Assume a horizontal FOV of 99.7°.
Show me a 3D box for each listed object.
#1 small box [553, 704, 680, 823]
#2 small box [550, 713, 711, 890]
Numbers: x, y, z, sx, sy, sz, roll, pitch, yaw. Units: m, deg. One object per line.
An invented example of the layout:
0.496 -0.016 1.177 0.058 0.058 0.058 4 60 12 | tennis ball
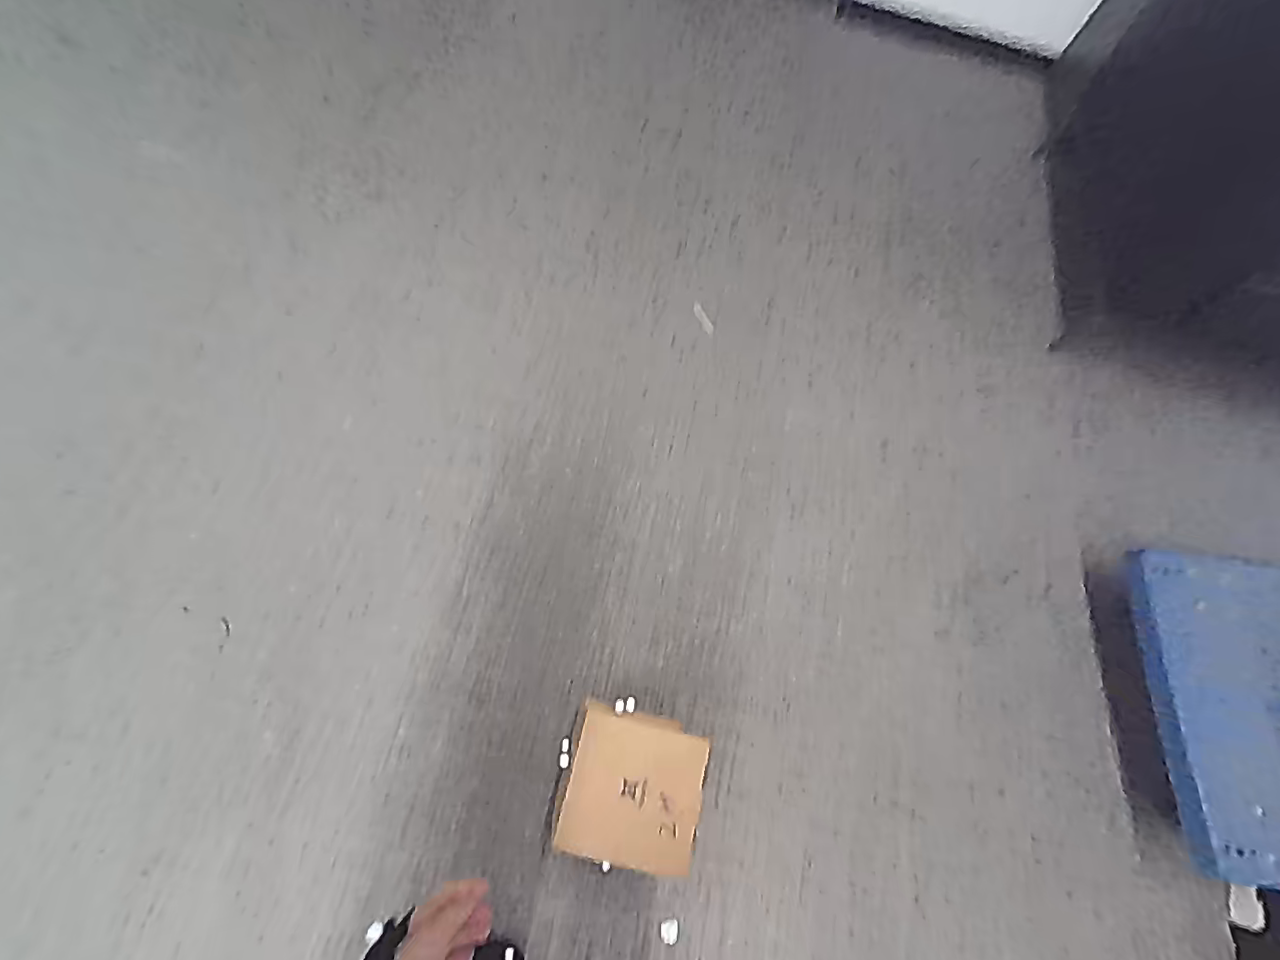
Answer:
-0.042 0.492 0.918 0.168 0.176 0.179 16 66 -2 | small box
-0.018 0.437 0.764 0.179 0.176 0.168 16 68 -2 | small box
